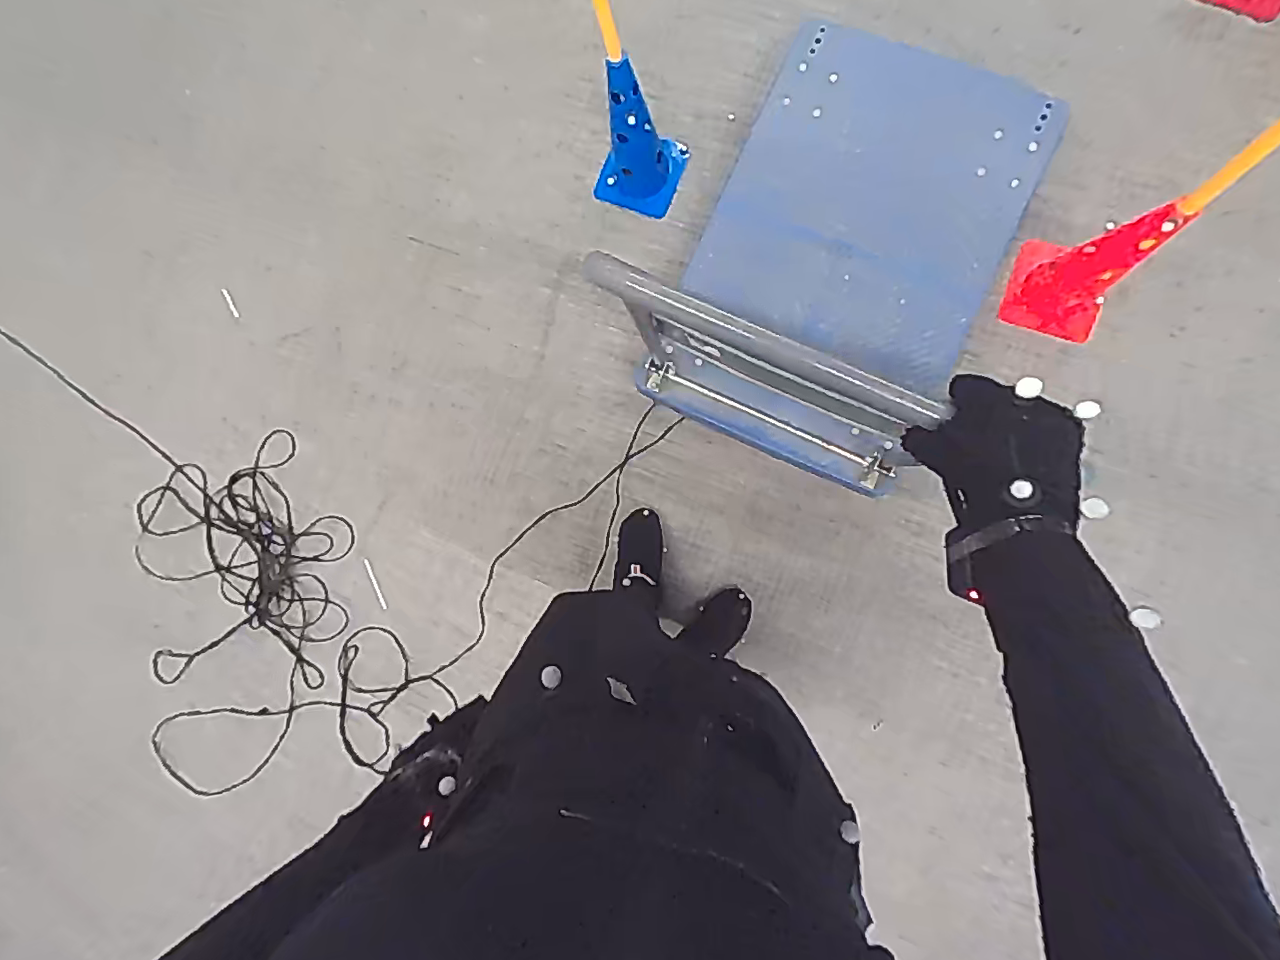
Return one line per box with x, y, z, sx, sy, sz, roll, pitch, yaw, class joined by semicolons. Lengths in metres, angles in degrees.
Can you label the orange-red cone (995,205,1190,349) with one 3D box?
0.912;-0.424;1.065;0.199;0.360;0.198;22;90;10;orange-red cone
